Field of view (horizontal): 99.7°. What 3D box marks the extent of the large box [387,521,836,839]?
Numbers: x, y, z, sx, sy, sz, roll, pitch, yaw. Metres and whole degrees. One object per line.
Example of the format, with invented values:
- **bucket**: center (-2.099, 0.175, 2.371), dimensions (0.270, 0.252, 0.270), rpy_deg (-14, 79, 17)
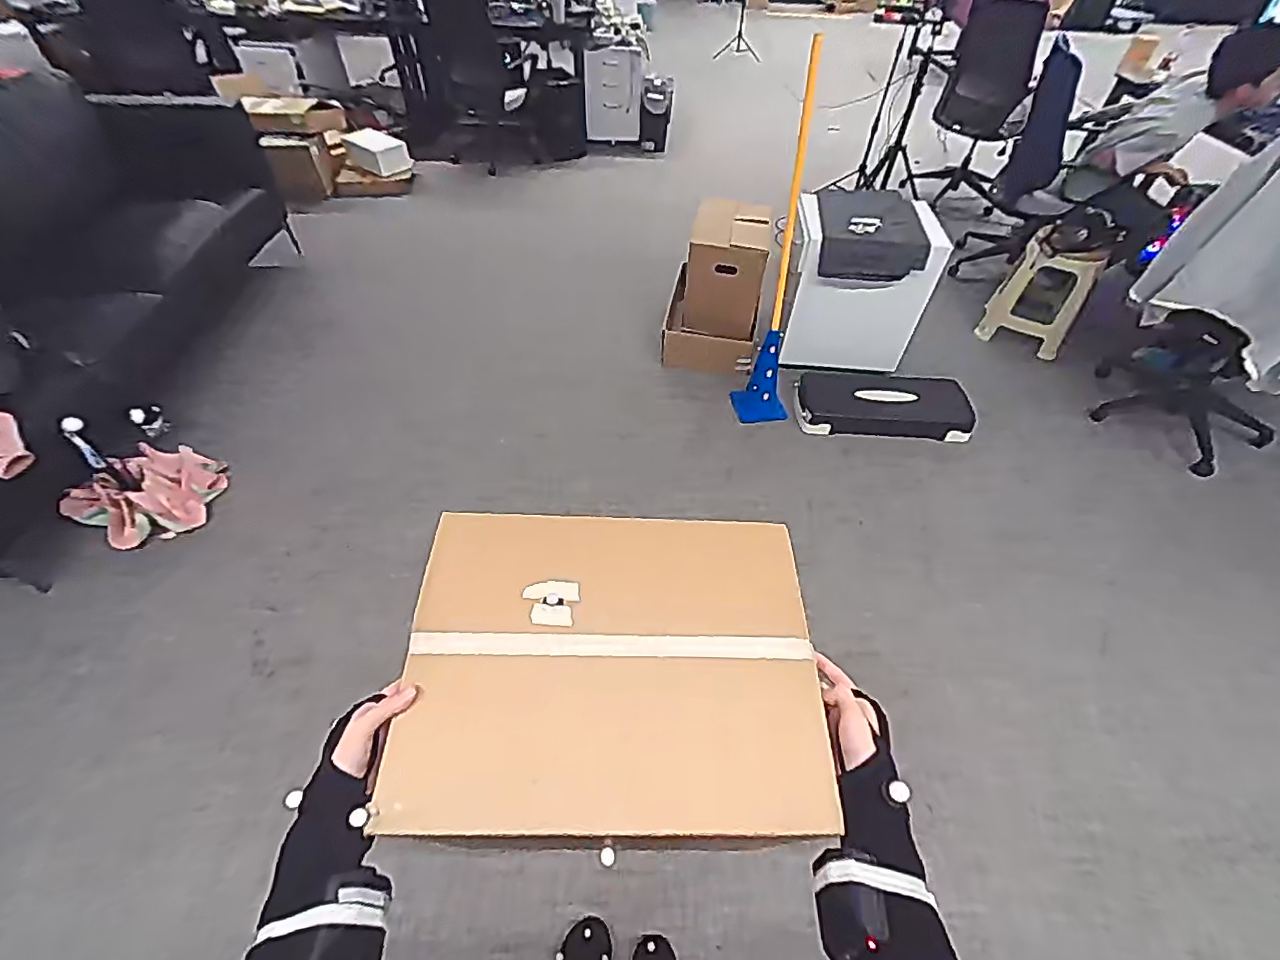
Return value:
- **large box**: center (-0.028, 0.262, 0.680), dimensions (0.408, 0.320, 0.320), rpy_deg (1, 53, -2)
